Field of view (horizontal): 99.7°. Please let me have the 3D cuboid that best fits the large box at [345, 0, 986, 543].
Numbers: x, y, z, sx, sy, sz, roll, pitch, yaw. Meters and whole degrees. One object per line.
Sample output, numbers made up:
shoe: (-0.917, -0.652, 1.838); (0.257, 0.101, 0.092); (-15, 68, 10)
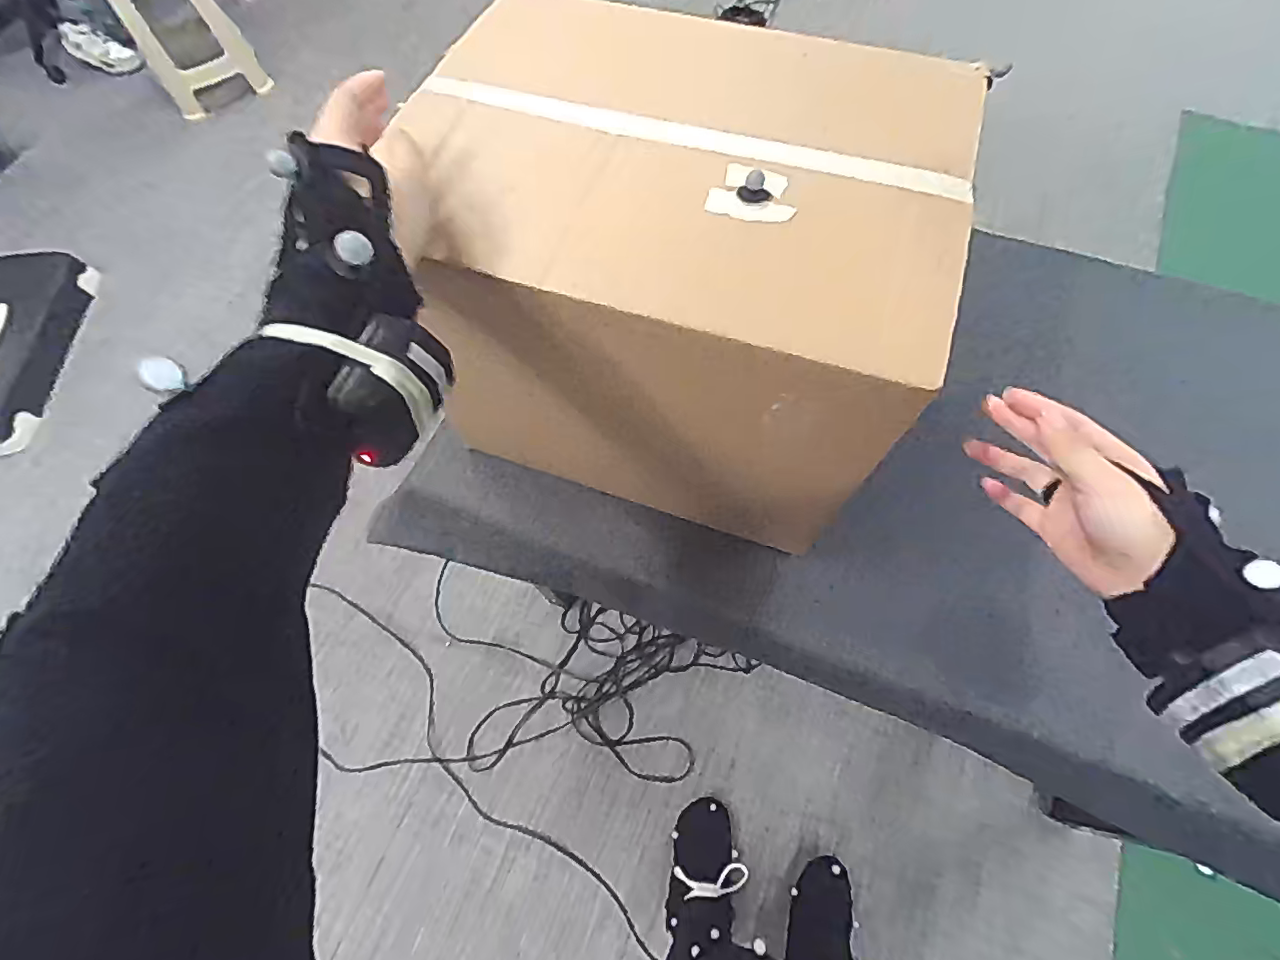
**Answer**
large box: (0.035, -0.177, 0.527); (0.408, 0.320, 0.320); (18, 68, 8)
